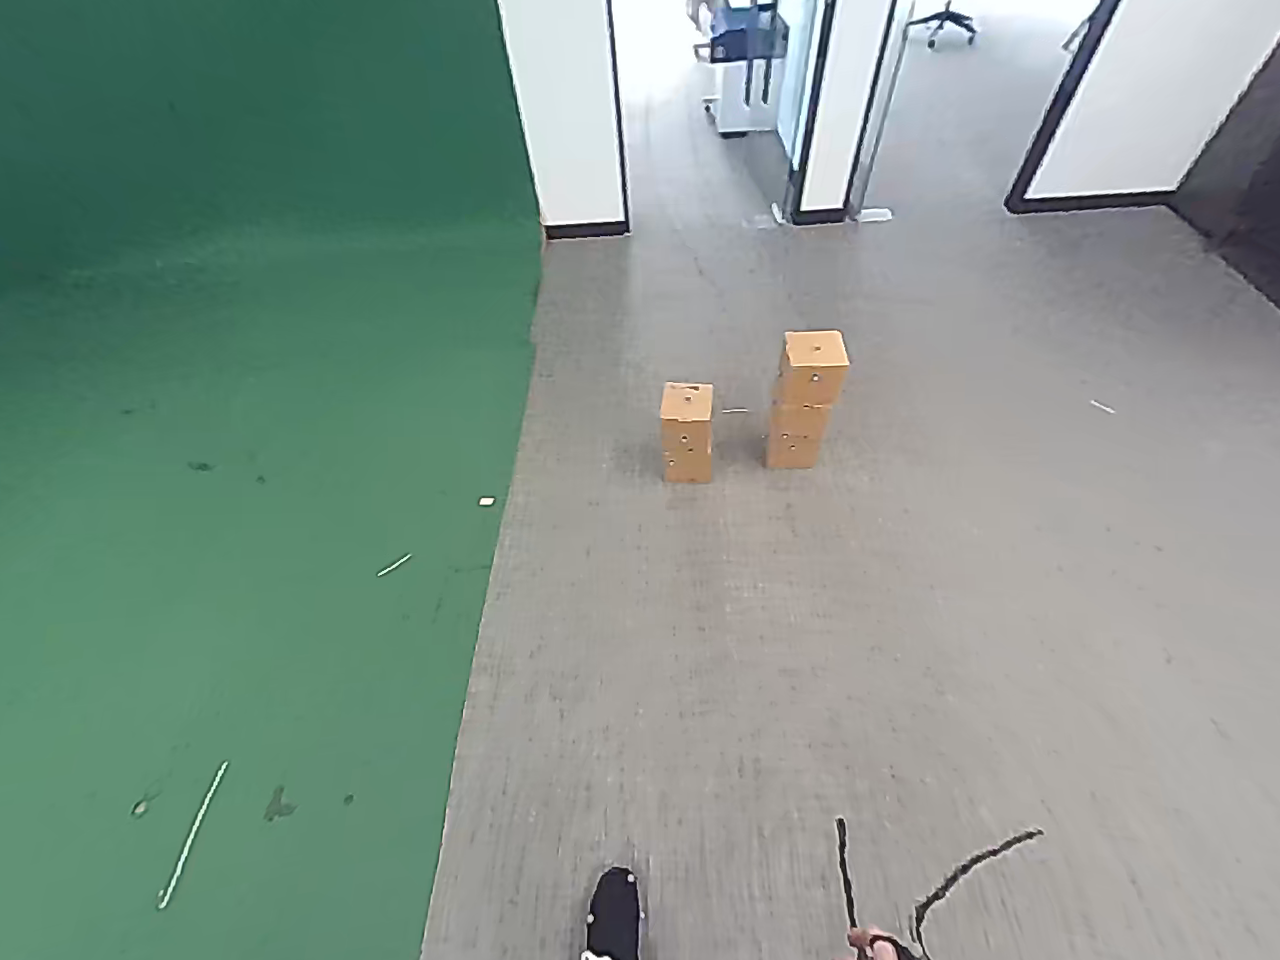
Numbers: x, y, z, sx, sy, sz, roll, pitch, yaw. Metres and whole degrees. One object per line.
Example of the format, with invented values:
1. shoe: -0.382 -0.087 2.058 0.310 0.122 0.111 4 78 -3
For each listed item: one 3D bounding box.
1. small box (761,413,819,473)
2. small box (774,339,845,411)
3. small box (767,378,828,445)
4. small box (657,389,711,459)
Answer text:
1. small box: 0.546 -0.137 2.001 0.179 0.176 0.168 -1 52 3
2. small box: 0.539 -0.336 1.743 0.179 0.176 0.168 -1 52 4
3. small box: 0.539 -0.235 1.870 0.168 0.176 0.179 0 51 4
4. small box: 0.154 -0.190 1.864 0.168 0.176 0.179 4 53 7
